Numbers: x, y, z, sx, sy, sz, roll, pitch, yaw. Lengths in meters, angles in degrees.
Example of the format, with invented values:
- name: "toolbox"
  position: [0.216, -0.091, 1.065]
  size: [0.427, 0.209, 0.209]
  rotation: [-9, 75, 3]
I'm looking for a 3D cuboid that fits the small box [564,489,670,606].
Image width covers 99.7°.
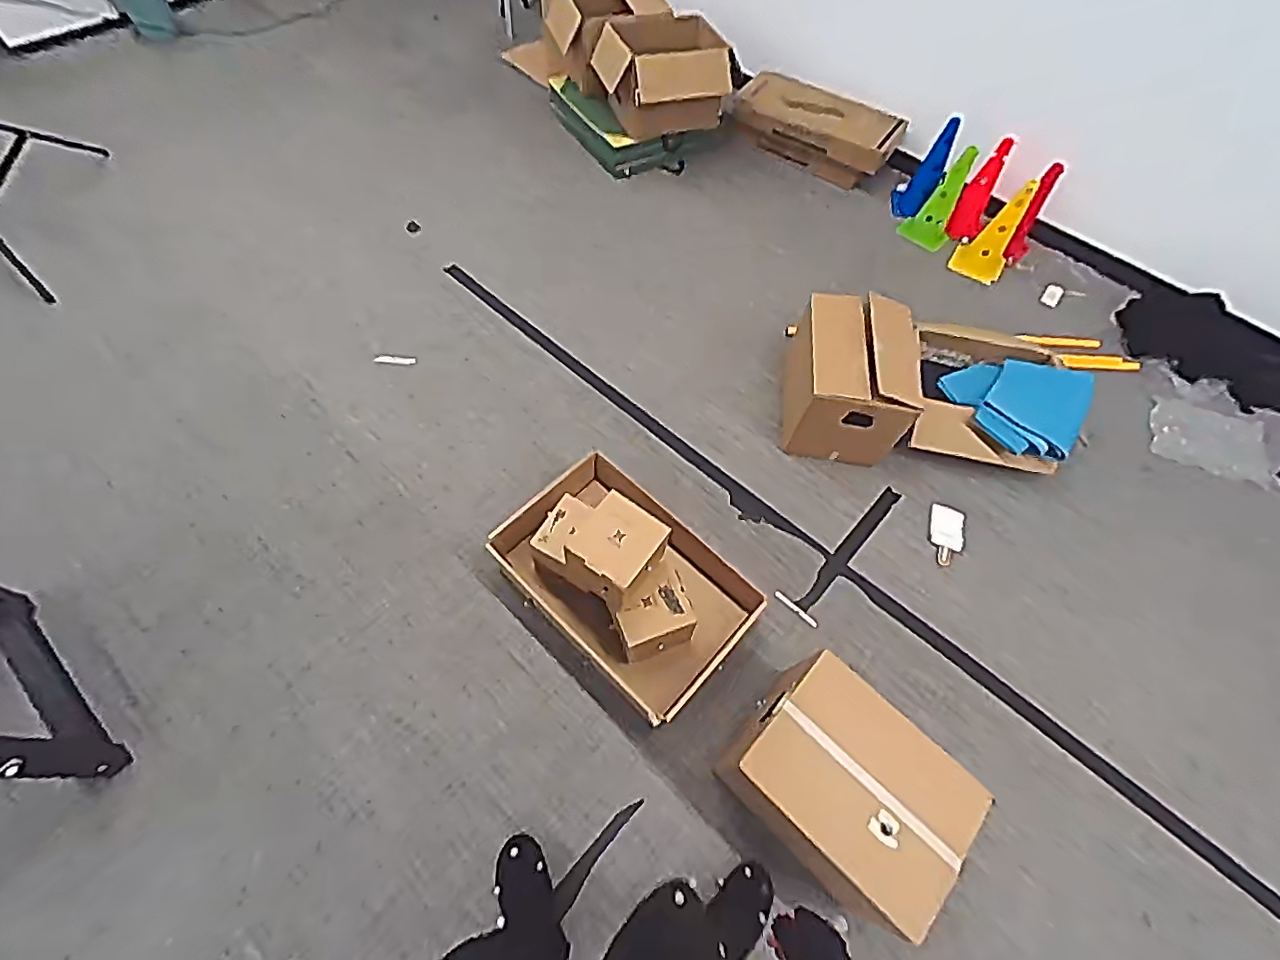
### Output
- name: "small box"
  position: [-0.052, 0.160, 1.236]
  size: [0.168, 0.176, 0.179]
  rotation: [34, 63, 13]

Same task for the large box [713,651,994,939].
- name: "large box"
  position: [0.426, 0.644, 1.167]
  size: [0.408, 0.320, 0.320]
  rotation: [41, 67, 16]
